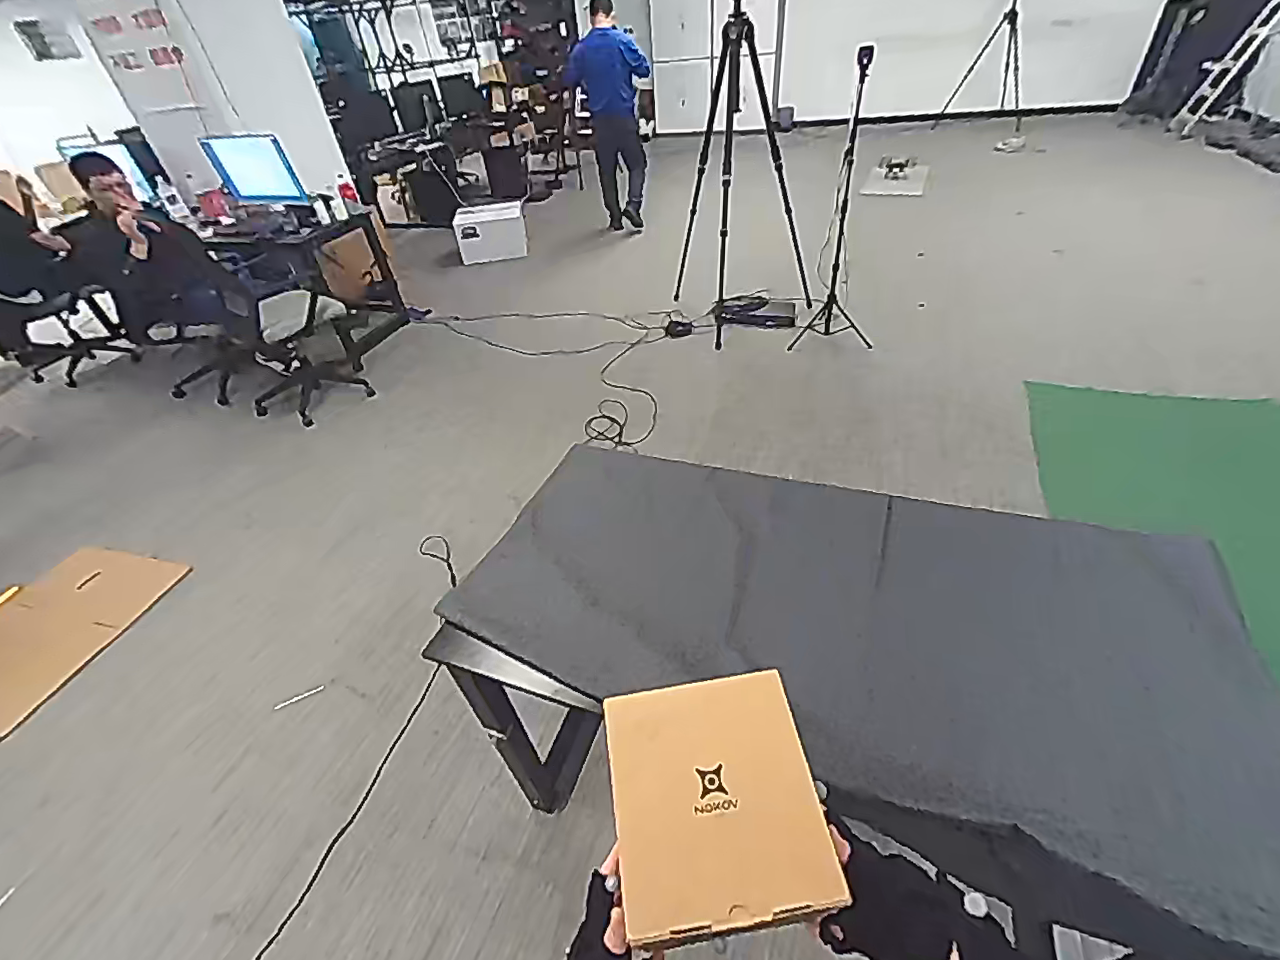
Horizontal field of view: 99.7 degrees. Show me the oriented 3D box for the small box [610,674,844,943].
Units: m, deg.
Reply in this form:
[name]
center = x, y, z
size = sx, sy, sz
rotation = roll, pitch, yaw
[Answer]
[small box]
center = 0.064, 0.310, 0.511
size = 0.168, 0.176, 0.179
rotation = -8, 48, -3
